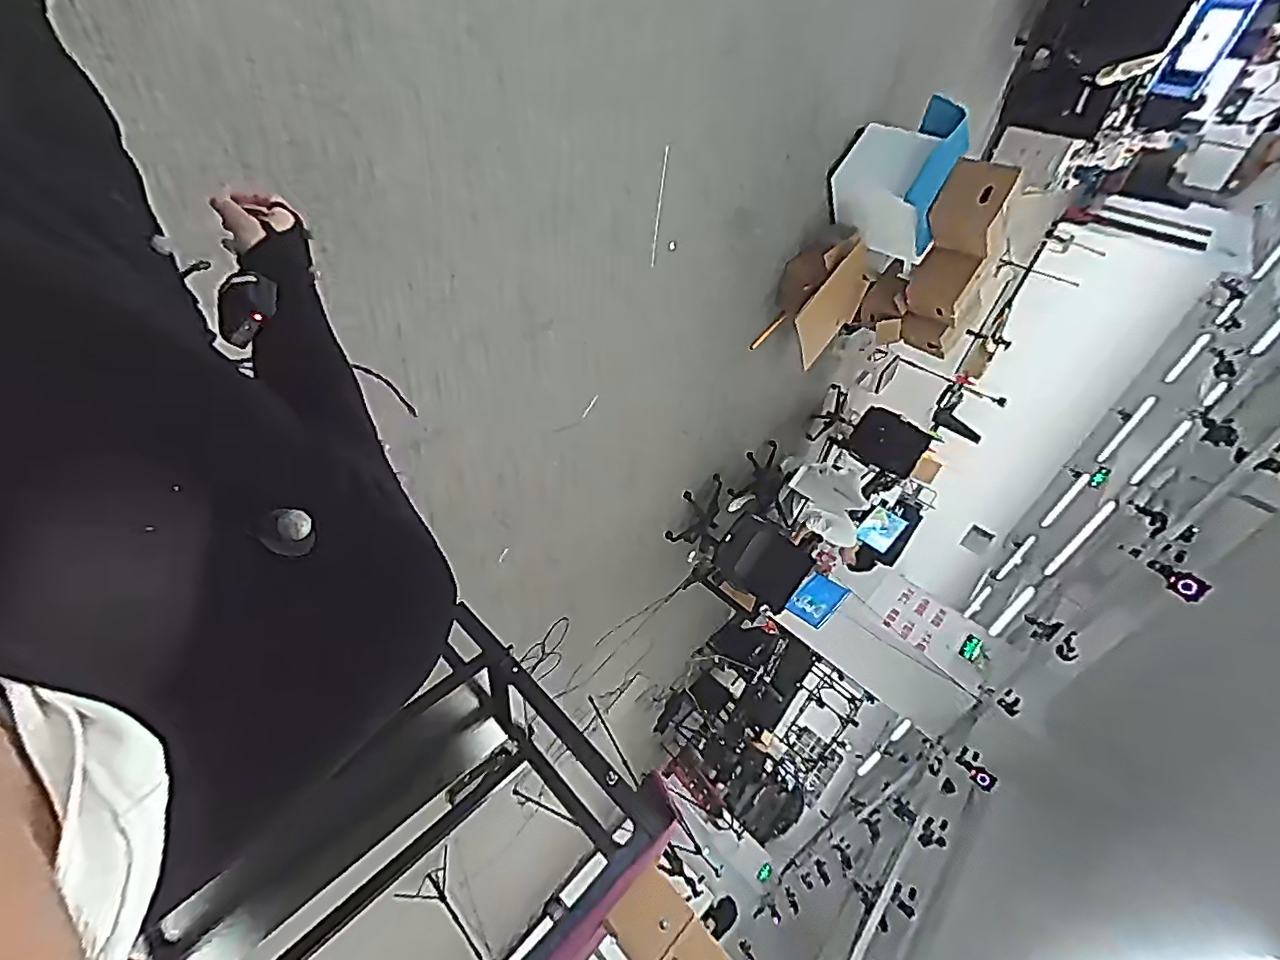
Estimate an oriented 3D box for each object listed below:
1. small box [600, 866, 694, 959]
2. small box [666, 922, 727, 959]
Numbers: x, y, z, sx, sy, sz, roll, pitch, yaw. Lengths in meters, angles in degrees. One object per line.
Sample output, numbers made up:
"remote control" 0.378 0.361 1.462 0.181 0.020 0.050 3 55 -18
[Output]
"small box" 0.015 1.179 1.437 0.179 0.176 0.168 -32 145 -33
"small box" 0.131 1.267 1.364 0.168 0.176 0.179 -34 147 -33
